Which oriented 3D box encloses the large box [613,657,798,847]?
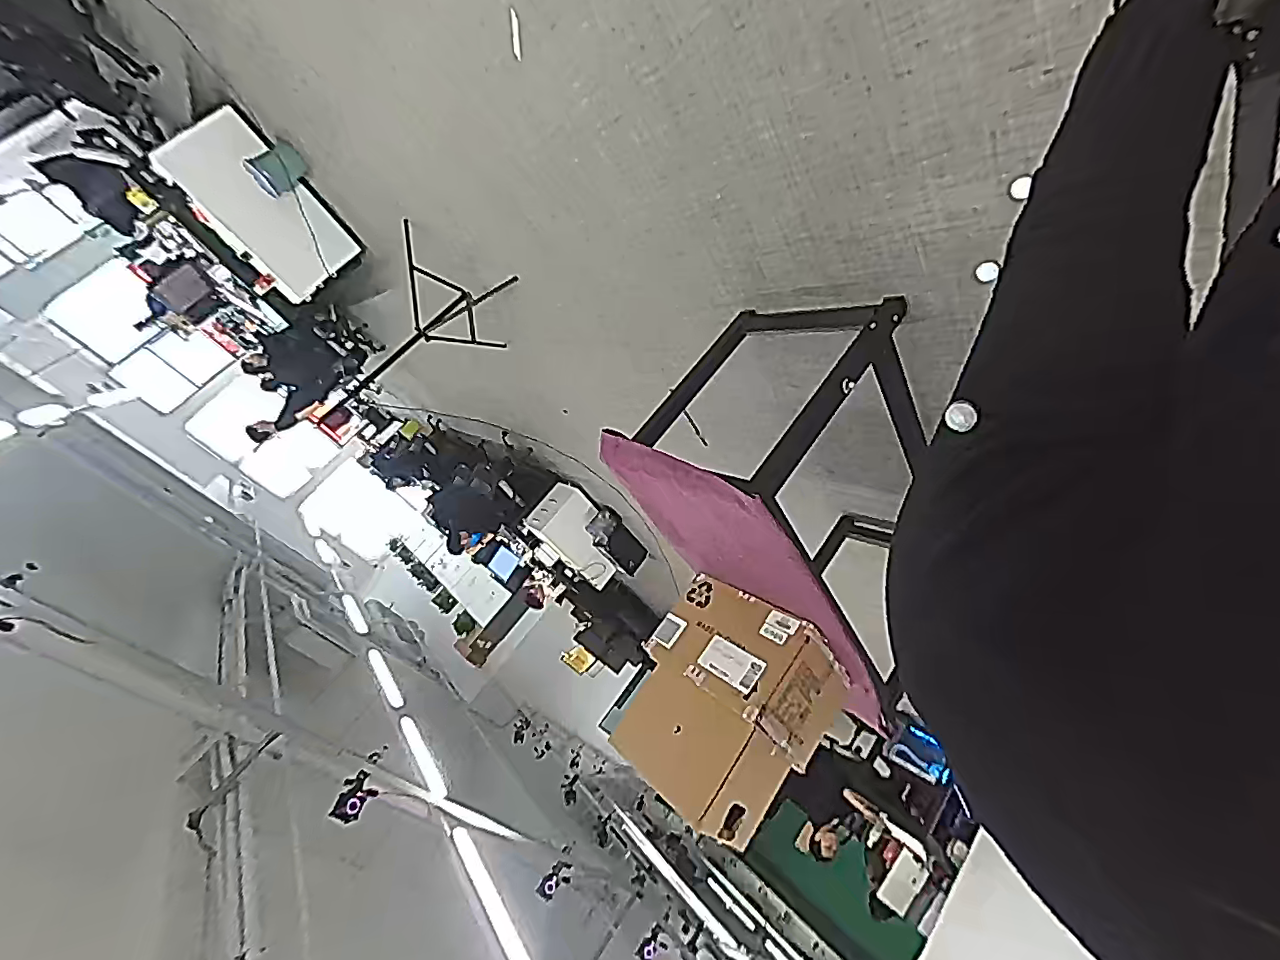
[{"bbox_3d":[0.197,0.816,1.666,0.408,0.320,0.320,17,156,50],"label":"large box"}]
